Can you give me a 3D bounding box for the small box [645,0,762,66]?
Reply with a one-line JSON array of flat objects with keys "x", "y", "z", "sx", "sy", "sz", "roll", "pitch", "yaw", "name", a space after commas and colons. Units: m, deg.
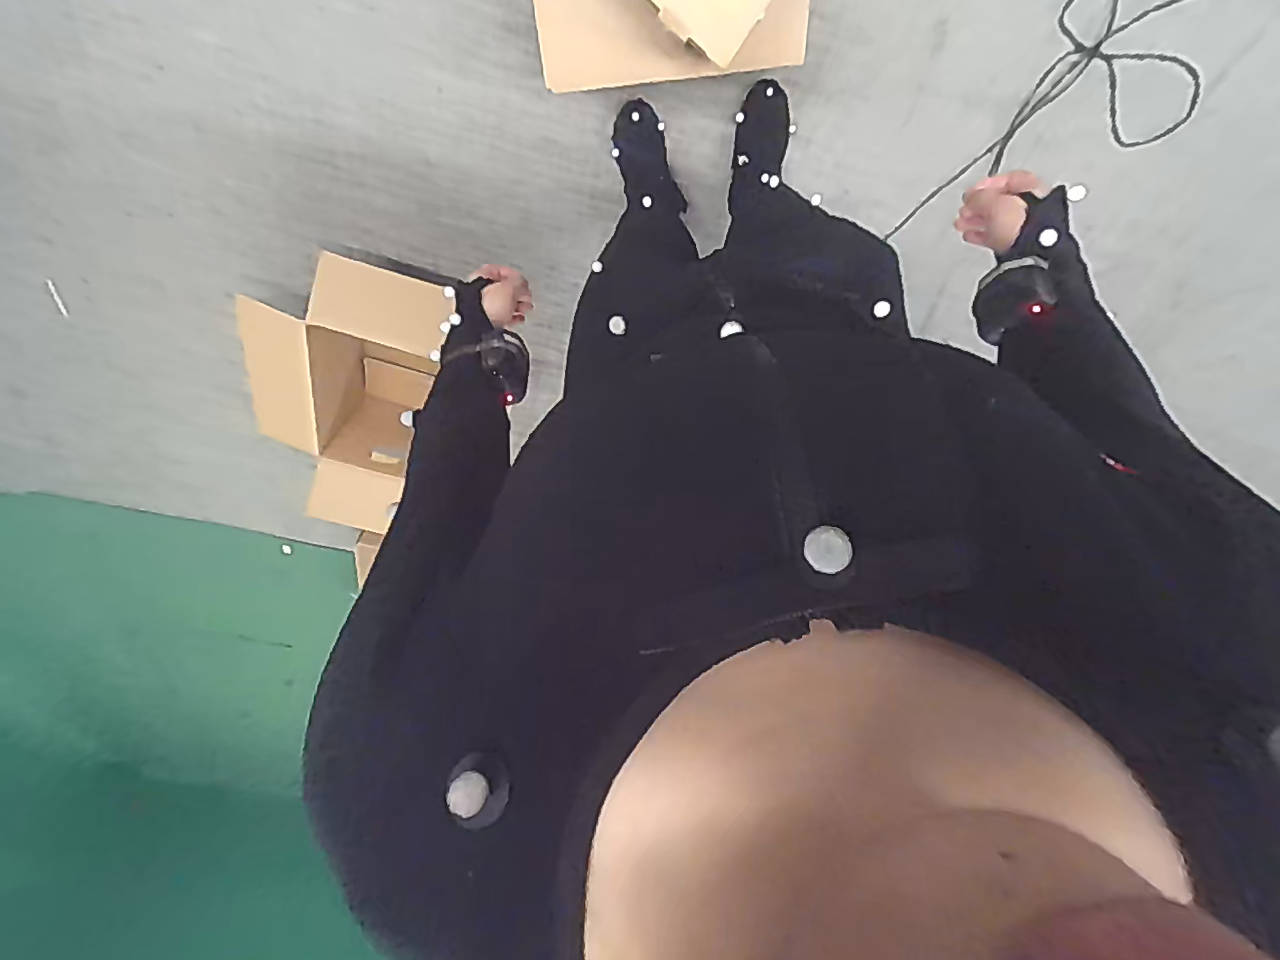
[{"x": 0.092, "y": -0.680, "z": 0.686, "sx": 0.168, "sy": 0.176, "sz": 0.179, "roll": 29, "pitch": 129, "yaw": -21, "name": "small box"}]
